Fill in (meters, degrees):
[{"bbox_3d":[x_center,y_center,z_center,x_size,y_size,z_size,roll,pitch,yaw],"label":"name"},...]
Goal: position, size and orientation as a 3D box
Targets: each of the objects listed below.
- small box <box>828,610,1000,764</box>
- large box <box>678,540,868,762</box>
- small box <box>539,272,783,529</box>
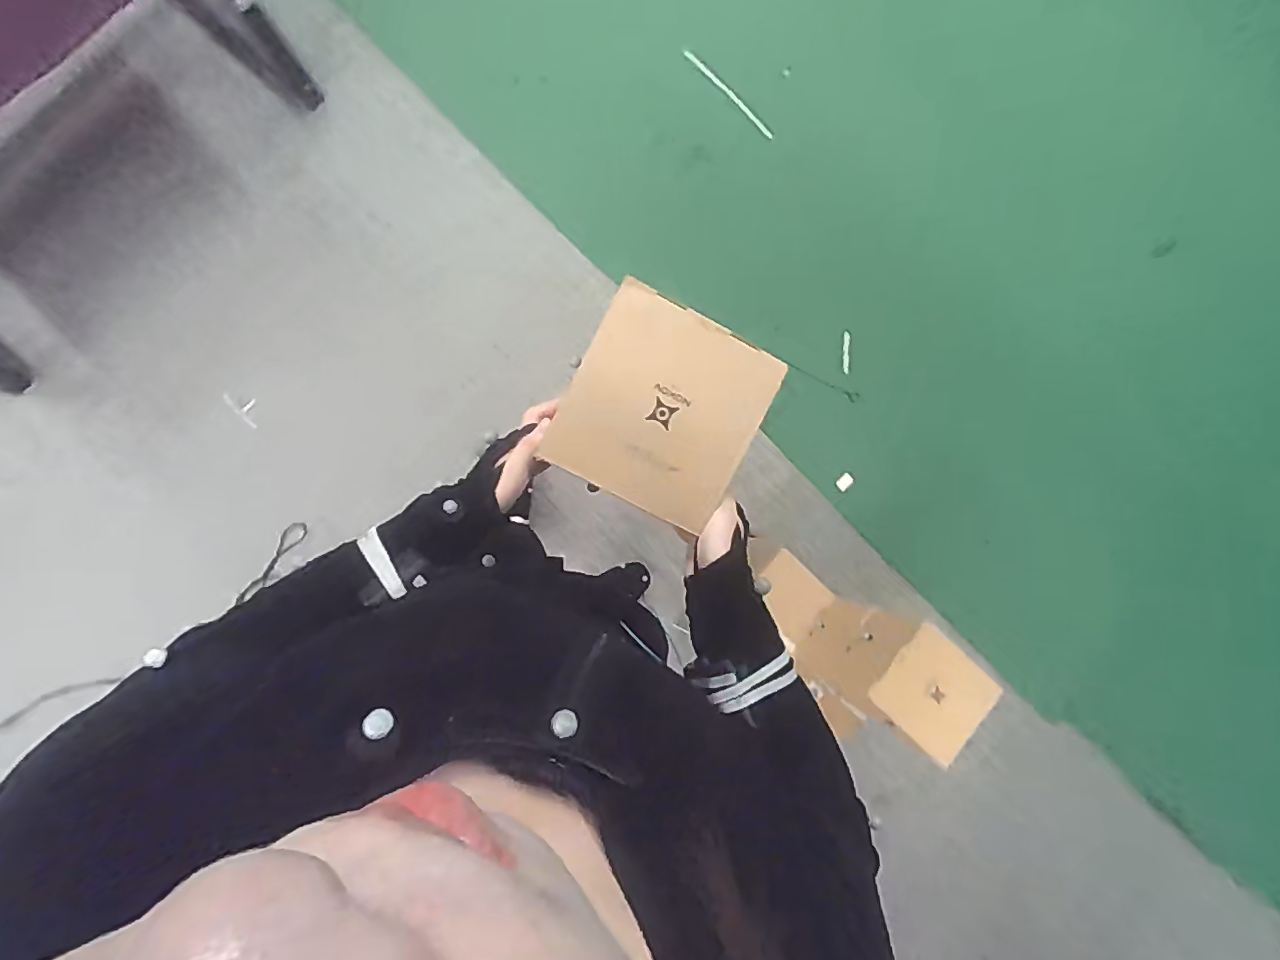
[{"bbox_3d":[0.479,0.356,0.970,0.179,0.176,0.168,44,83,1],"label":"small box"},{"bbox_3d":[0.358,0.400,1.370,0.408,0.320,0.320,44,86,-1],"label":"large box"},{"bbox_3d":[0.012,-0.074,0.556,0.168,0.176,0.179,27,92,-6],"label":"small box"}]
